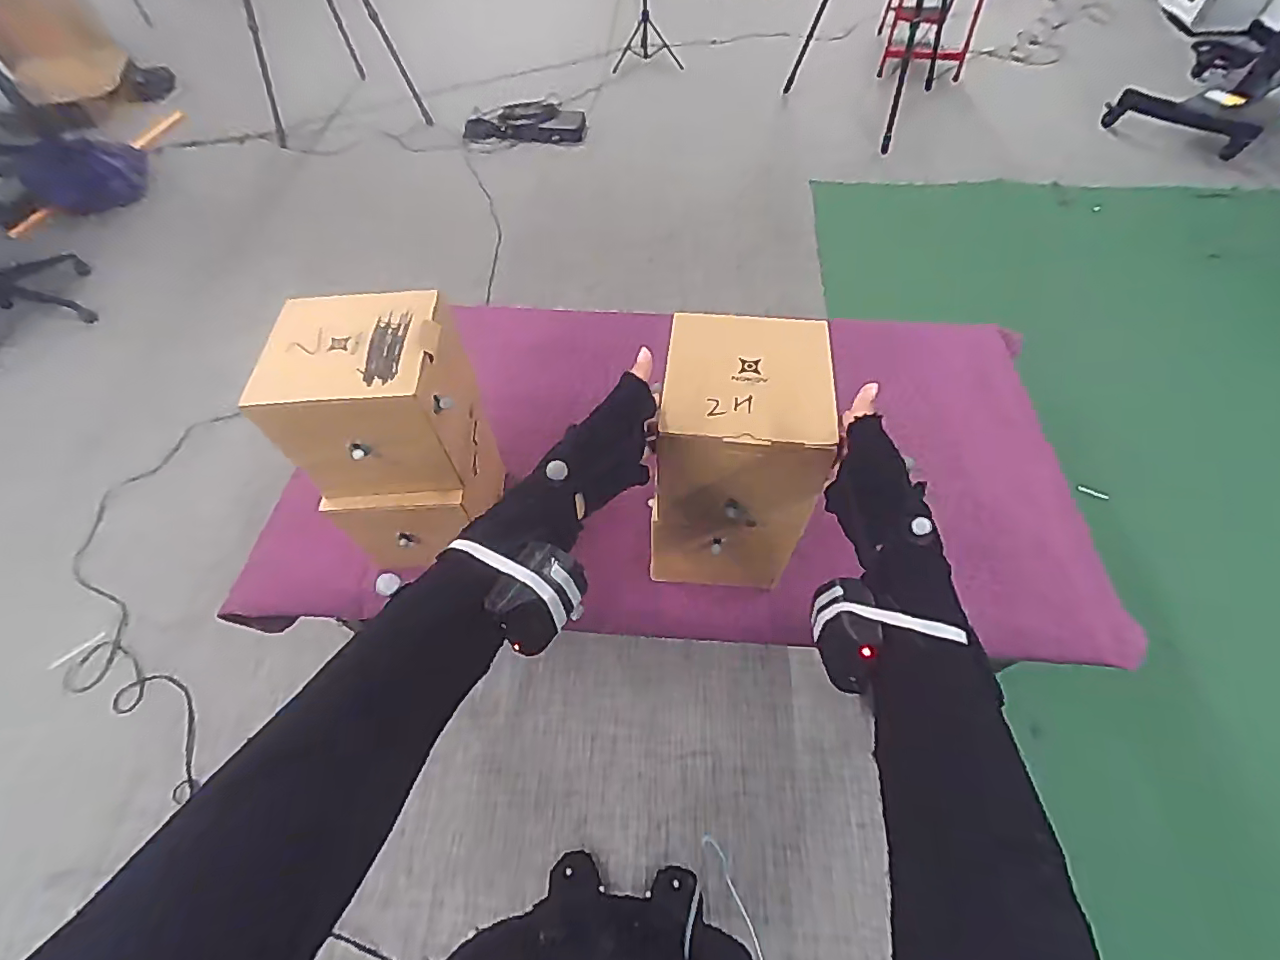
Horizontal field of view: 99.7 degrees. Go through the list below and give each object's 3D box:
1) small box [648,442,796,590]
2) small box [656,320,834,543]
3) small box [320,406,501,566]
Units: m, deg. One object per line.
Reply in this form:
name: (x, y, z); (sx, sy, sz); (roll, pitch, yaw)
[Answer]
small box: (0.106, 0.042, 0.747); (0.179, 0.176, 0.168); (4, 56, 4)
small box: (0.110, -0.052, 0.611); (0.168, 0.176, 0.179); (6, 56, 6)
small box: (-0.304, 0.012, 0.765); (0.179, 0.176, 0.168); (-2, 56, -1)
